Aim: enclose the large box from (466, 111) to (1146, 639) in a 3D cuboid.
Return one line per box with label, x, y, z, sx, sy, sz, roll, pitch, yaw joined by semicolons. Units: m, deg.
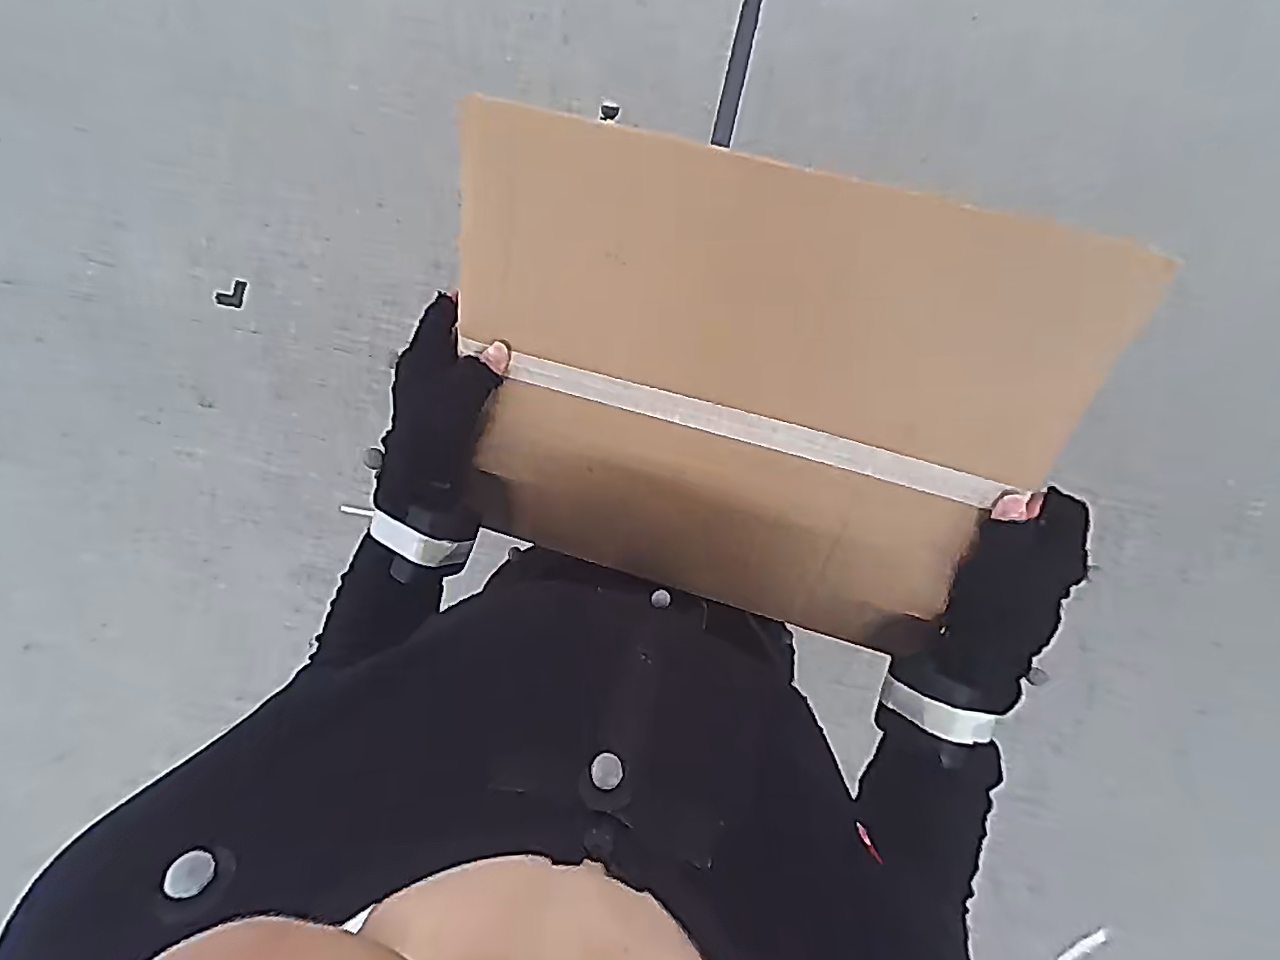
large box;0.093;-0.116;0.518;0.408;0.320;0.320;17;121;5
